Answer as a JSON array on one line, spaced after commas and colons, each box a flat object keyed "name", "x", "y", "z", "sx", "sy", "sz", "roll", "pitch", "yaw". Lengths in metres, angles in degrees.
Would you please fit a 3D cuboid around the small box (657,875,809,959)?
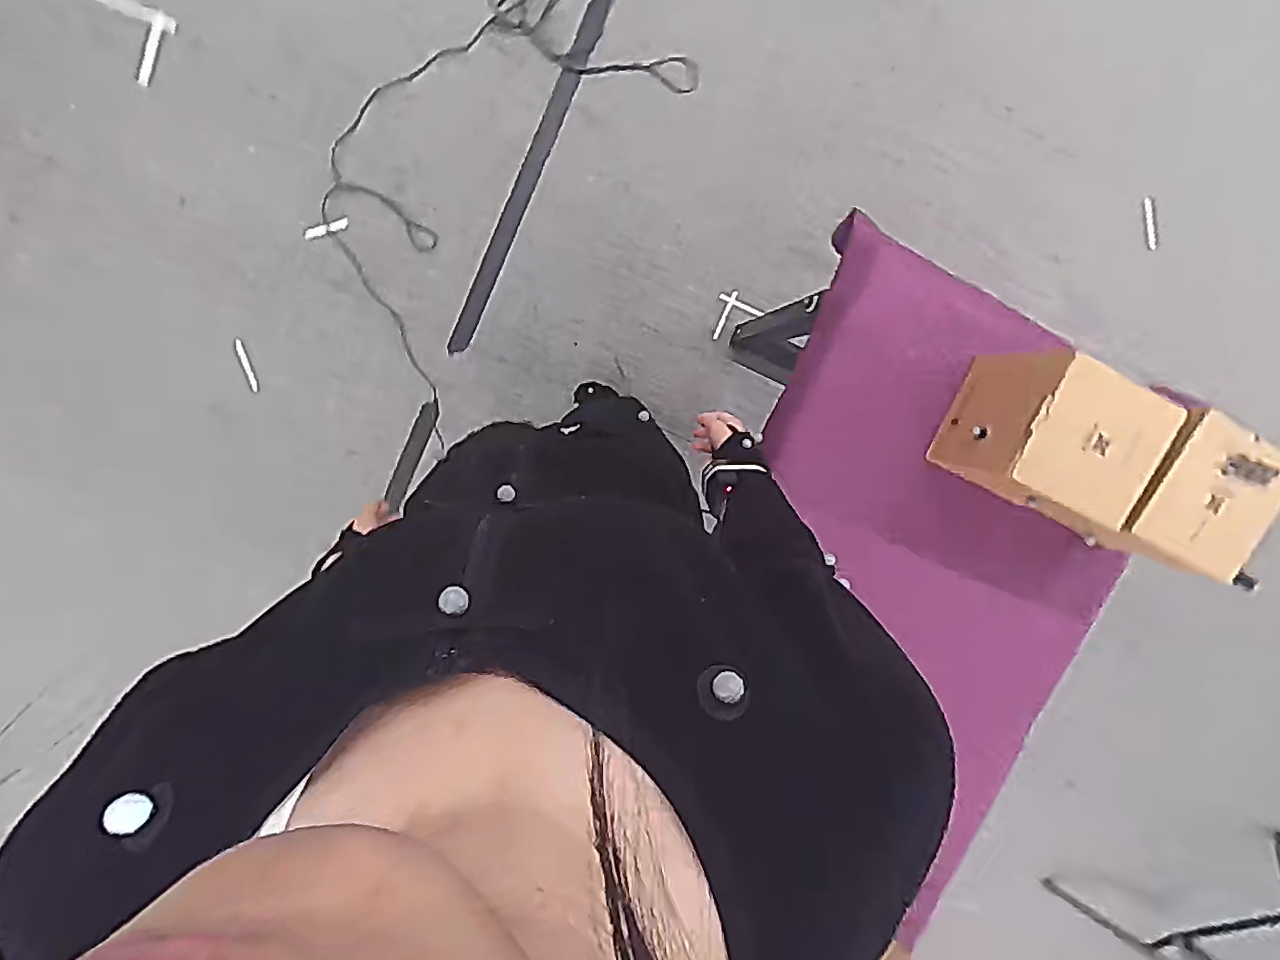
[{"name": "small box", "x": 0.144, "y": 0.757, "z": 0.827, "sx": 0.179, "sy": 0.176, "sz": 0.168, "roll": 29, "pitch": 95, "yaw": -11}]

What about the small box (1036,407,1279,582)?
[{"name": "small box", "x": 0.714, "y": 0.008, "z": 0.757, "sx": 0.168, "sy": 0.176, "sz": 0.179, "roll": 26, "pitch": 97, "yaw": -8}]
